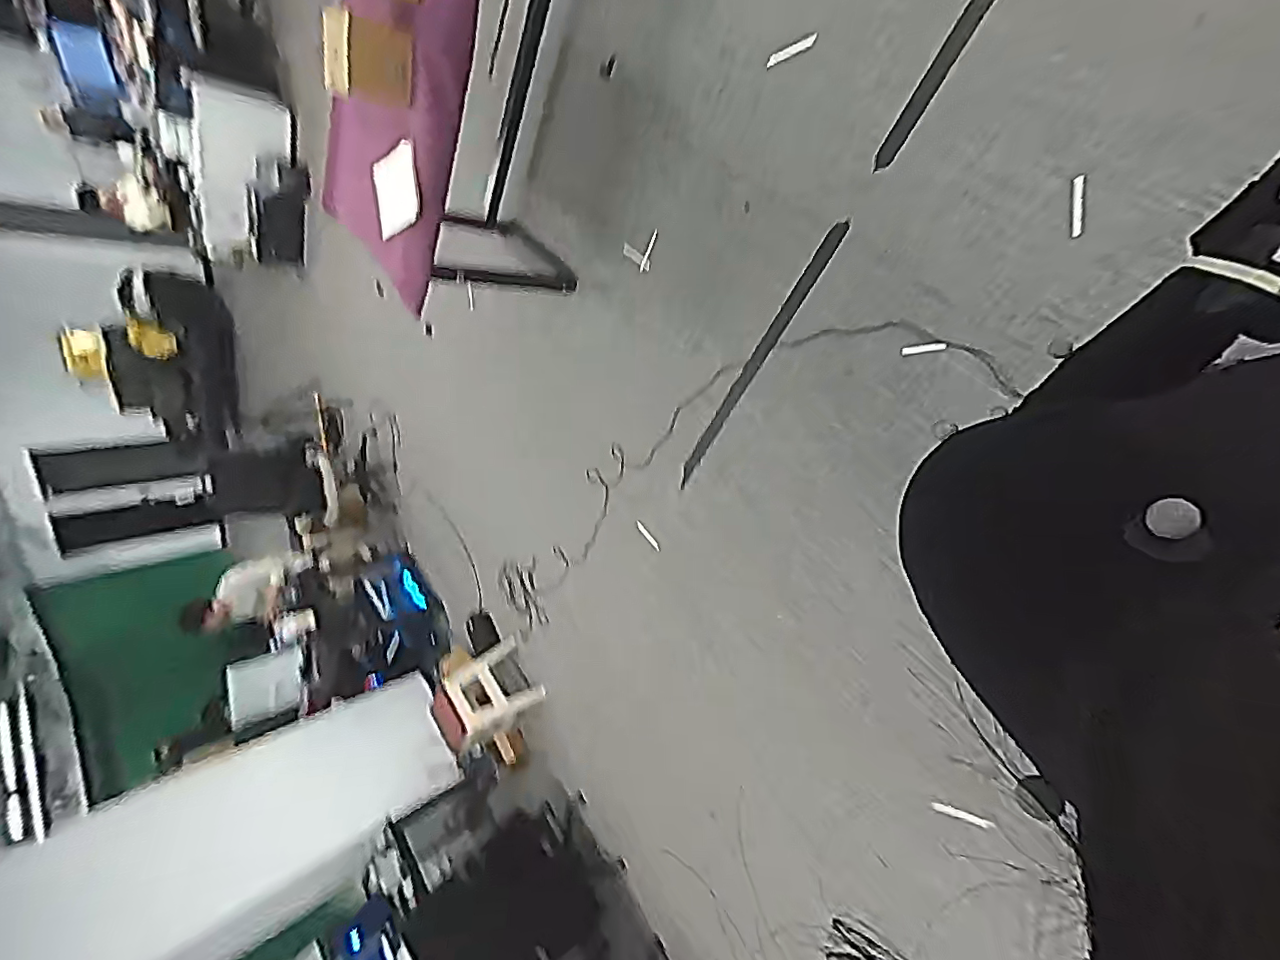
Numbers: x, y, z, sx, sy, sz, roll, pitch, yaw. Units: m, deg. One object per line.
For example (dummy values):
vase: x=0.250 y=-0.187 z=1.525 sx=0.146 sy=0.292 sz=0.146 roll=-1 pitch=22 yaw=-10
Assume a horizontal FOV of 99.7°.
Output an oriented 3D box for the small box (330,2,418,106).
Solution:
small box: x=-0.719 y=-1.151 z=1.466 sx=0.168 sy=0.176 sz=0.179 roll=37 pitch=124 yaw=34
